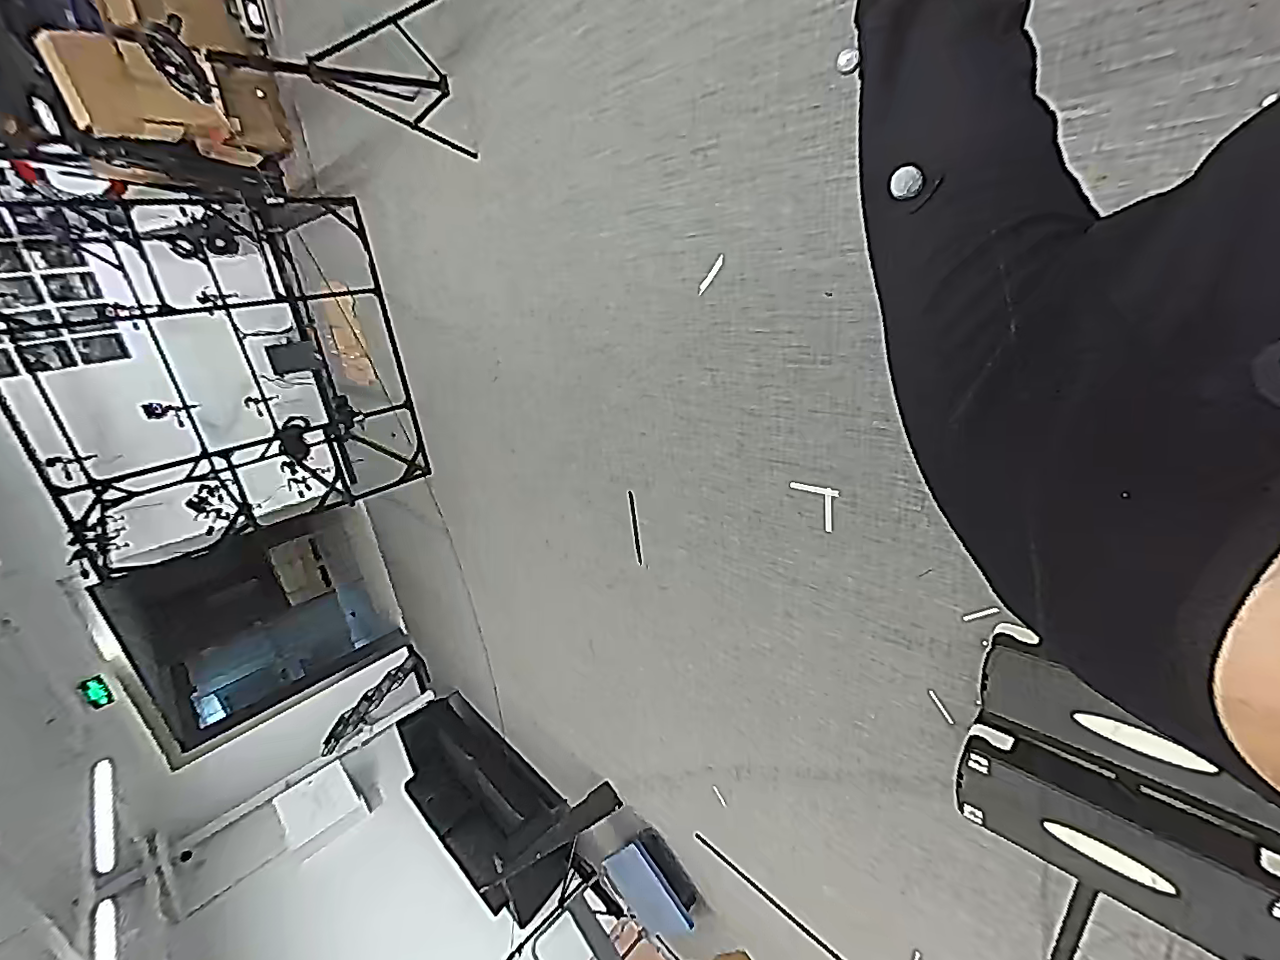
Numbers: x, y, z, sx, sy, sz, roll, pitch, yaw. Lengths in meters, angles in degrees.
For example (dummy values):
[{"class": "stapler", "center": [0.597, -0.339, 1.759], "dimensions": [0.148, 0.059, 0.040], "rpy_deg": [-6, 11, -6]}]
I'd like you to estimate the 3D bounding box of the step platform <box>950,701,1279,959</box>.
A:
[{"class": "step platform", "center": [1.192, 0.867, 1.390], "dimensions": [0.684, 0.204, 0.286], "rpy_deg": [15, 120, 46]}]
